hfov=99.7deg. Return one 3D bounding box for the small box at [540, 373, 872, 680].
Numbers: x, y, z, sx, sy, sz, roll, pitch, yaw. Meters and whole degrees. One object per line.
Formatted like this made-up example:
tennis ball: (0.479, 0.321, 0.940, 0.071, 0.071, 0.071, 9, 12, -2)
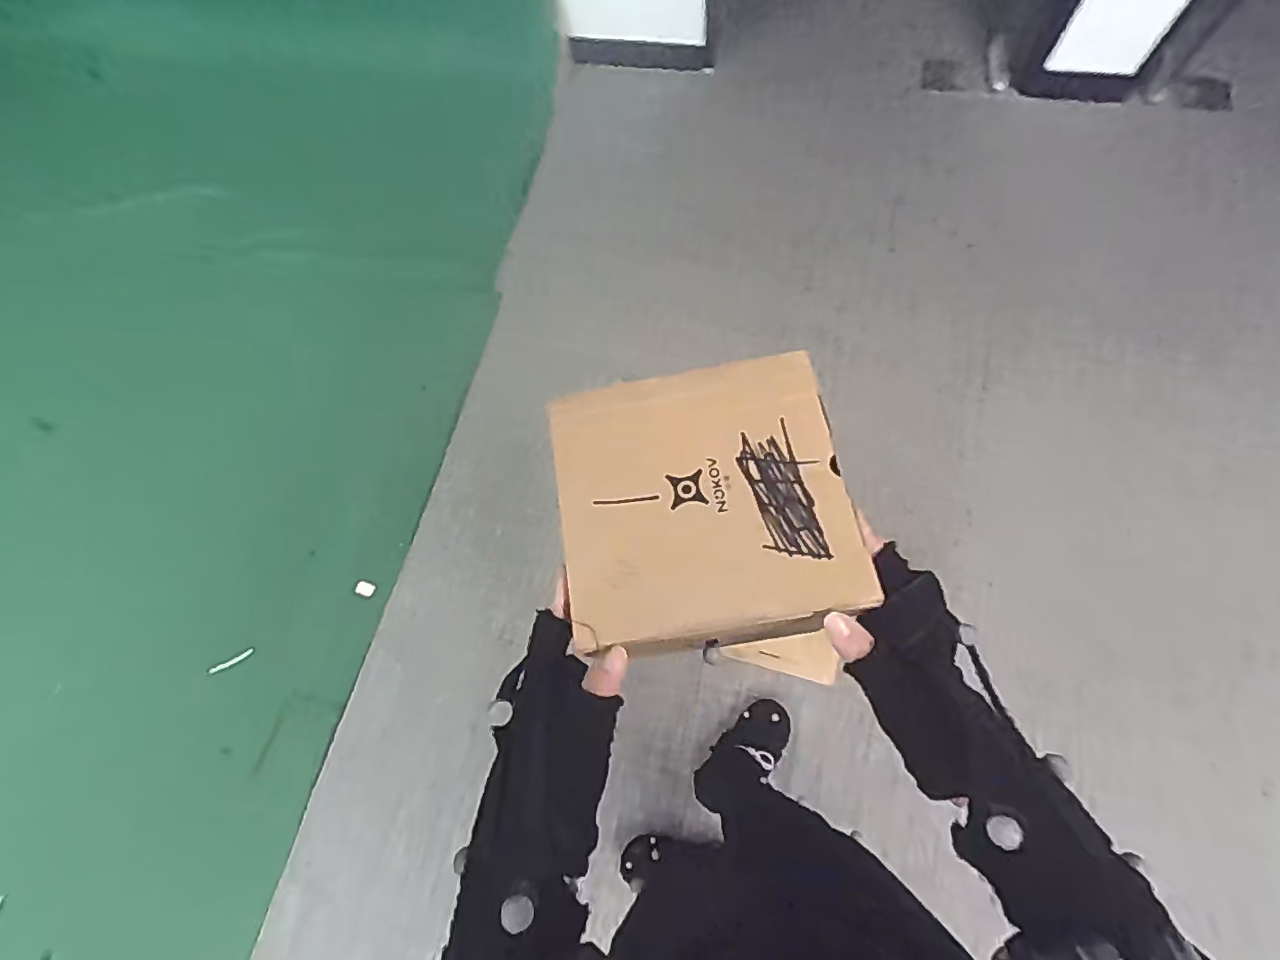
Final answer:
small box: (0.037, 0.047, 0.398, 0.179, 0.176, 0.168, -10, 69, 1)
